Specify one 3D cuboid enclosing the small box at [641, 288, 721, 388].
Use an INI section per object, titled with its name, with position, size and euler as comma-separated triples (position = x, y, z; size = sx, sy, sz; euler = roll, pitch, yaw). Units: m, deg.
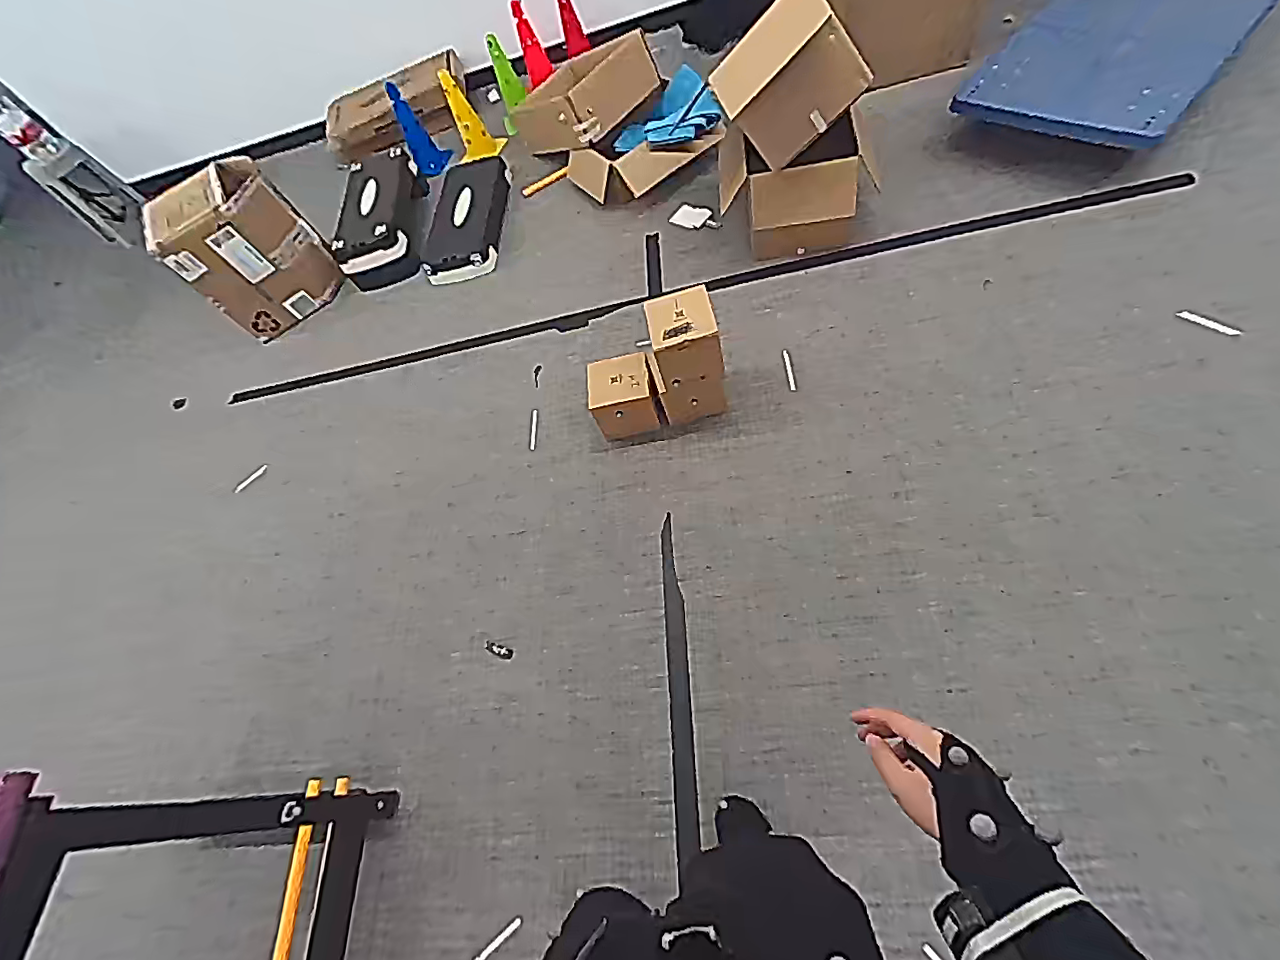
[small box]
position = 0.111, -0.360, 1.415
size = 0.168, 0.176, 0.179
euler = -14, 59, 8
